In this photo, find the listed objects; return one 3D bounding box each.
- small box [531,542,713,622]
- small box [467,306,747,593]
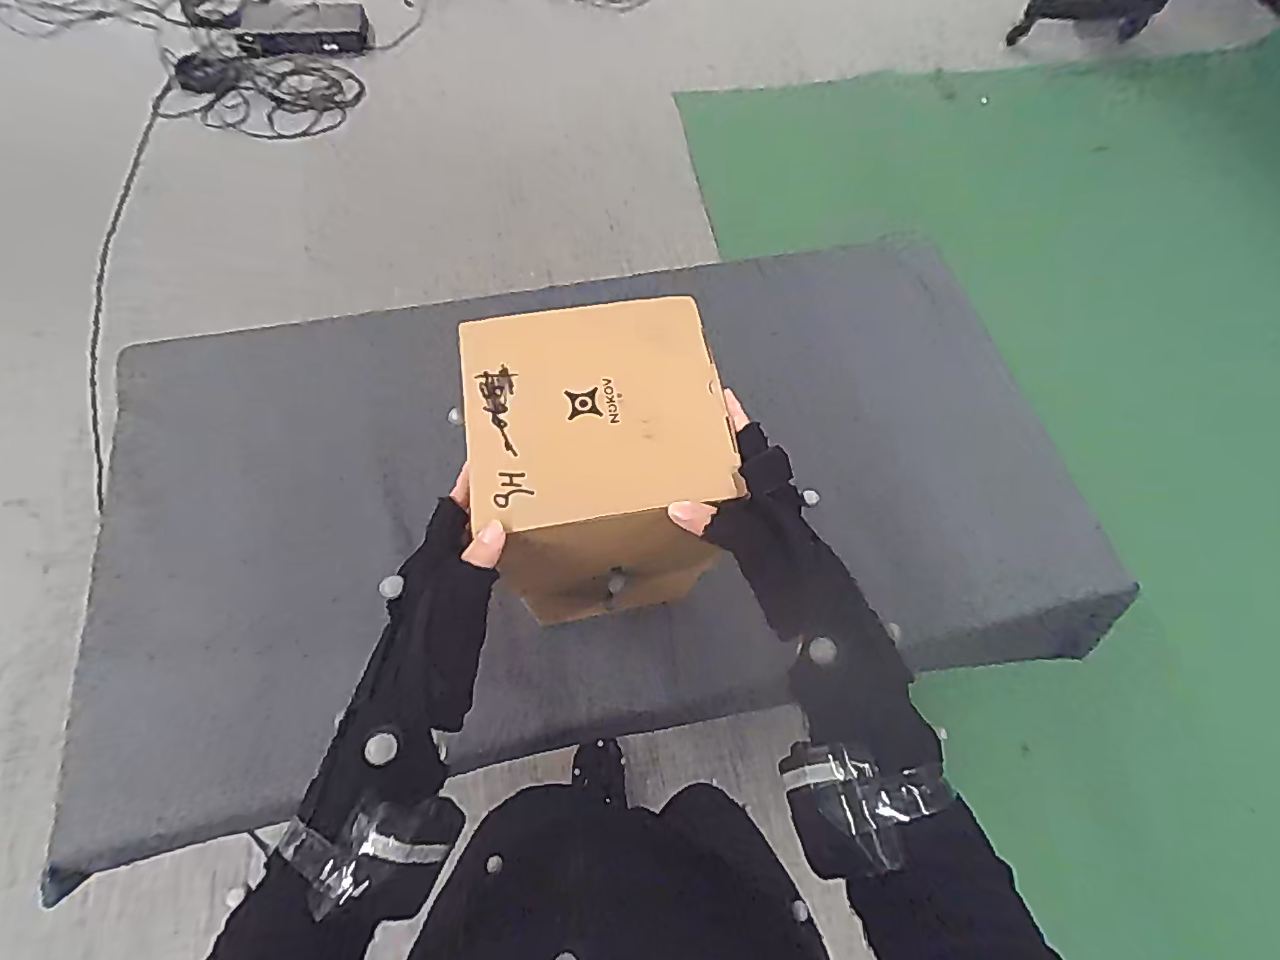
[{"bbox_3d":[-0.040,0.046,0.595,0.179,0.176,0.168,-13,67,-10],"label":"small box"},{"bbox_3d":[-0.034,-0.016,0.444,0.179,0.176,0.168,-8,65,-8],"label":"small box"}]
